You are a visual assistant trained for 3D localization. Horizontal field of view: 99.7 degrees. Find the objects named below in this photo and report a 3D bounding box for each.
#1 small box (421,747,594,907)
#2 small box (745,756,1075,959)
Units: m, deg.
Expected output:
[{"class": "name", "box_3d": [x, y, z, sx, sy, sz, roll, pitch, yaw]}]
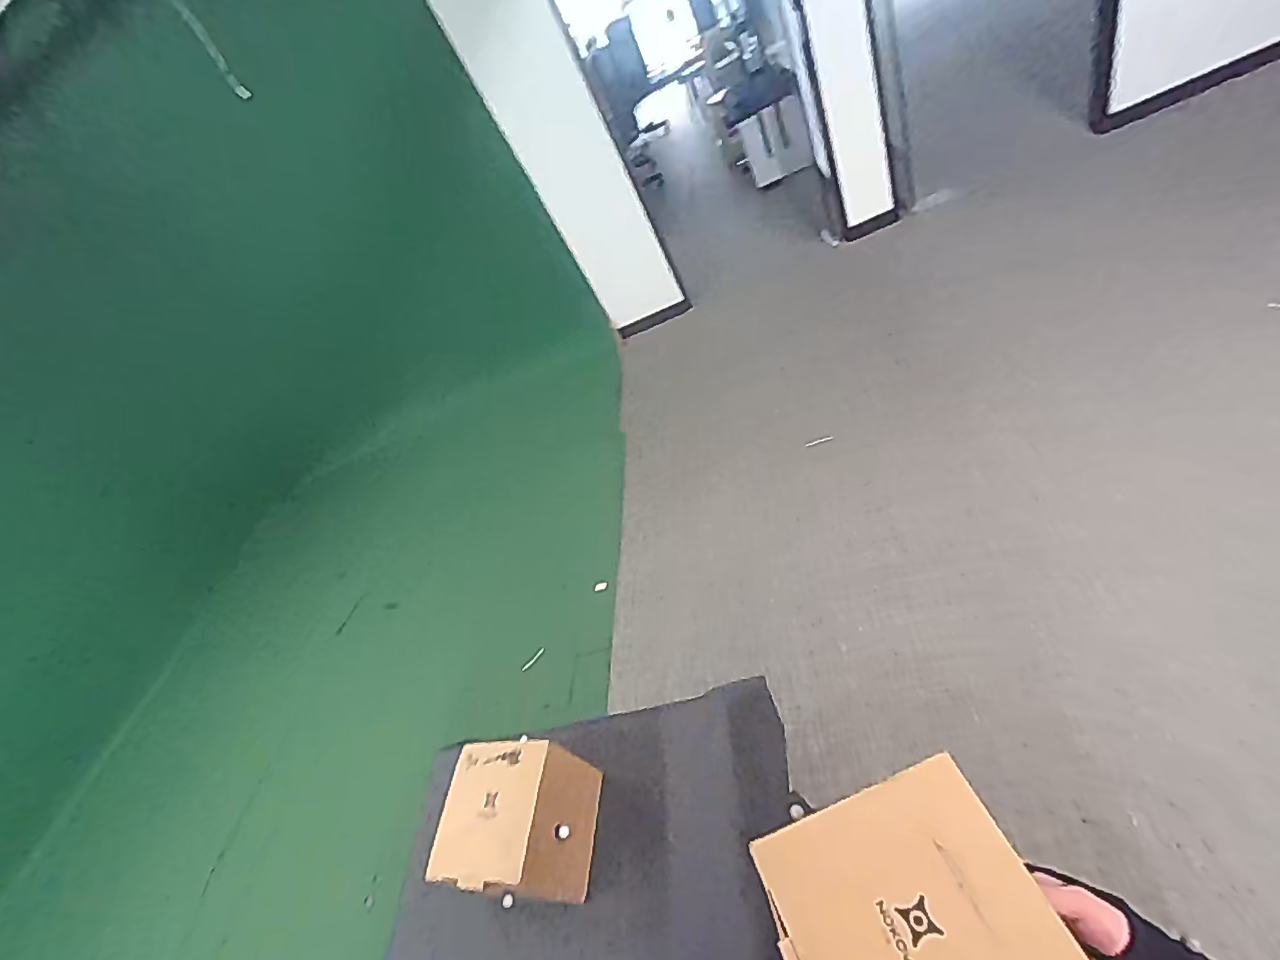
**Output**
[{"class": "small box", "box_3d": [-0.185, 0.520, 0.811, 0.168, 0.176, 0.179, -13, 44, 22]}, {"class": "small box", "box_3d": [0.208, 0.354, 0.440, 0.179, 0.176, 0.168, -26, 53, 1]}]
